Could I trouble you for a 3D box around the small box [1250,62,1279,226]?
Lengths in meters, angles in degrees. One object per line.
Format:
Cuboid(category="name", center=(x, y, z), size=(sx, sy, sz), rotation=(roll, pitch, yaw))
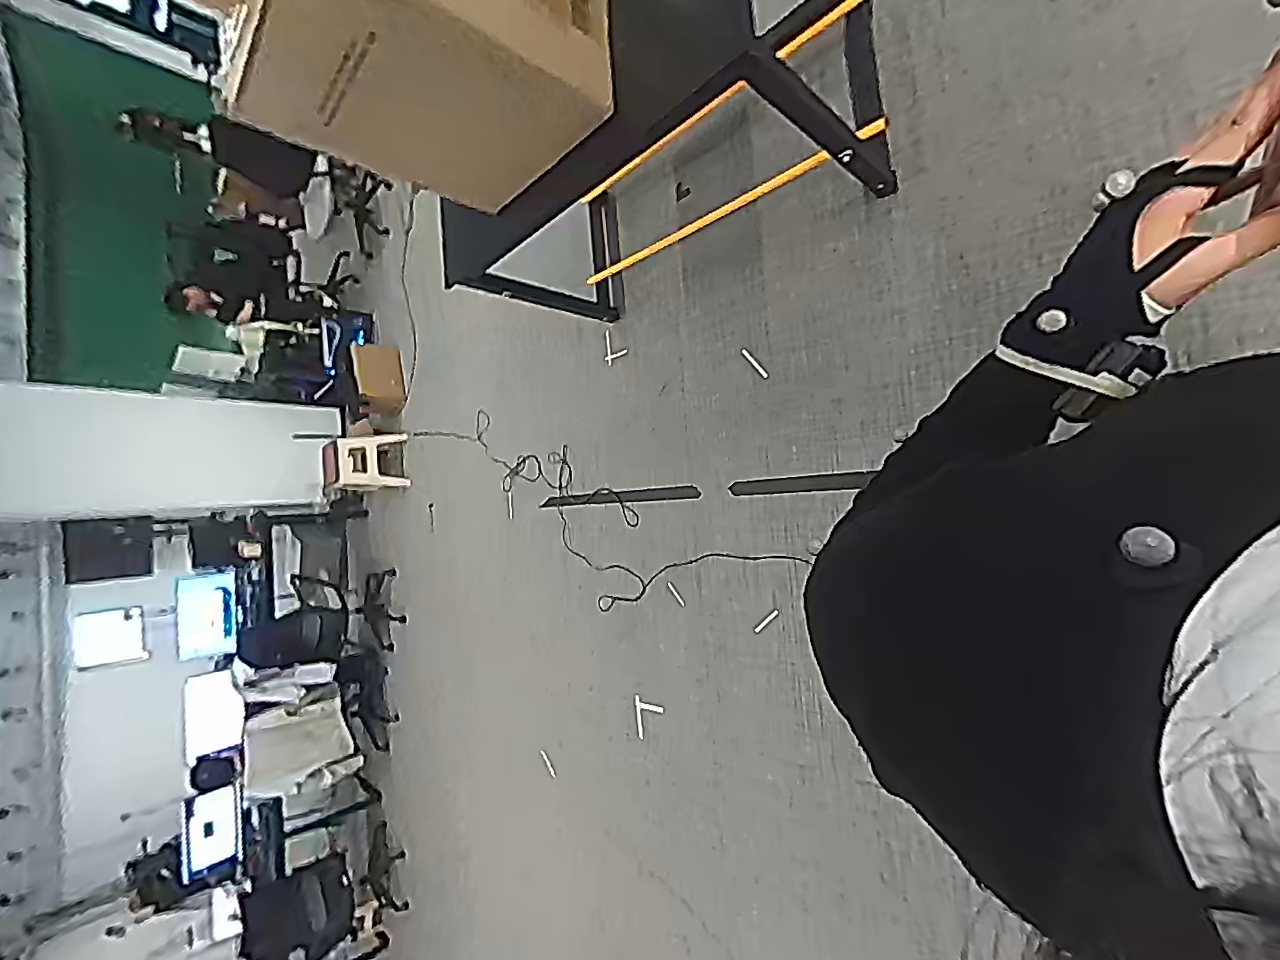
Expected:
Cuboid(category="small box", center=(0.421, -0.223, 0.241), size=(0.179, 0.176, 0.168), rotation=(10, 108, 42))
